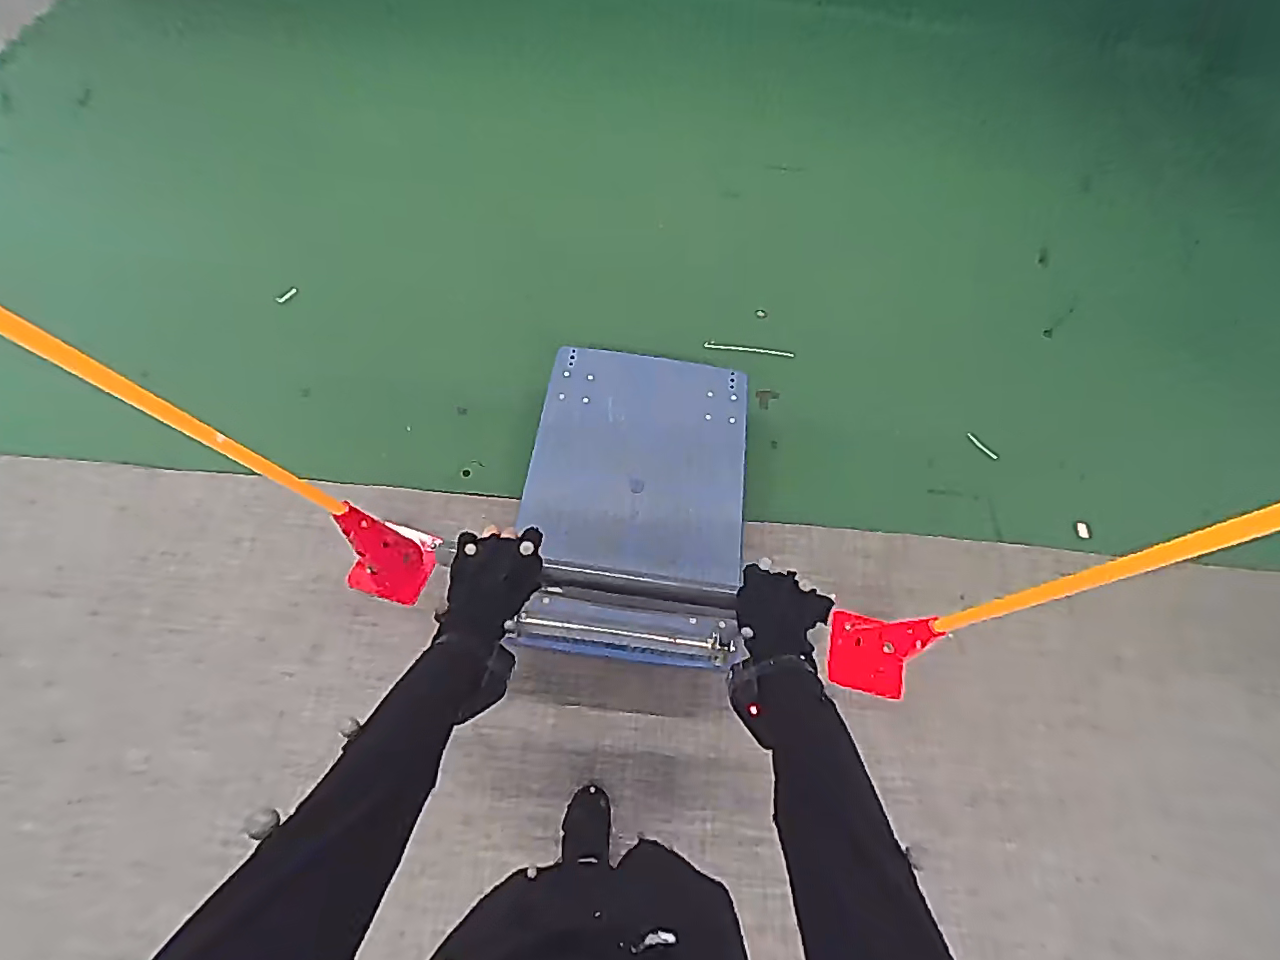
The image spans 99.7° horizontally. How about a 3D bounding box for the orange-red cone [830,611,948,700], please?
[{"bbox_3d":[0.618,0.386,1.284,0.198,0.360,0.199,15,64,5],"label":"orange-red cone"}]
